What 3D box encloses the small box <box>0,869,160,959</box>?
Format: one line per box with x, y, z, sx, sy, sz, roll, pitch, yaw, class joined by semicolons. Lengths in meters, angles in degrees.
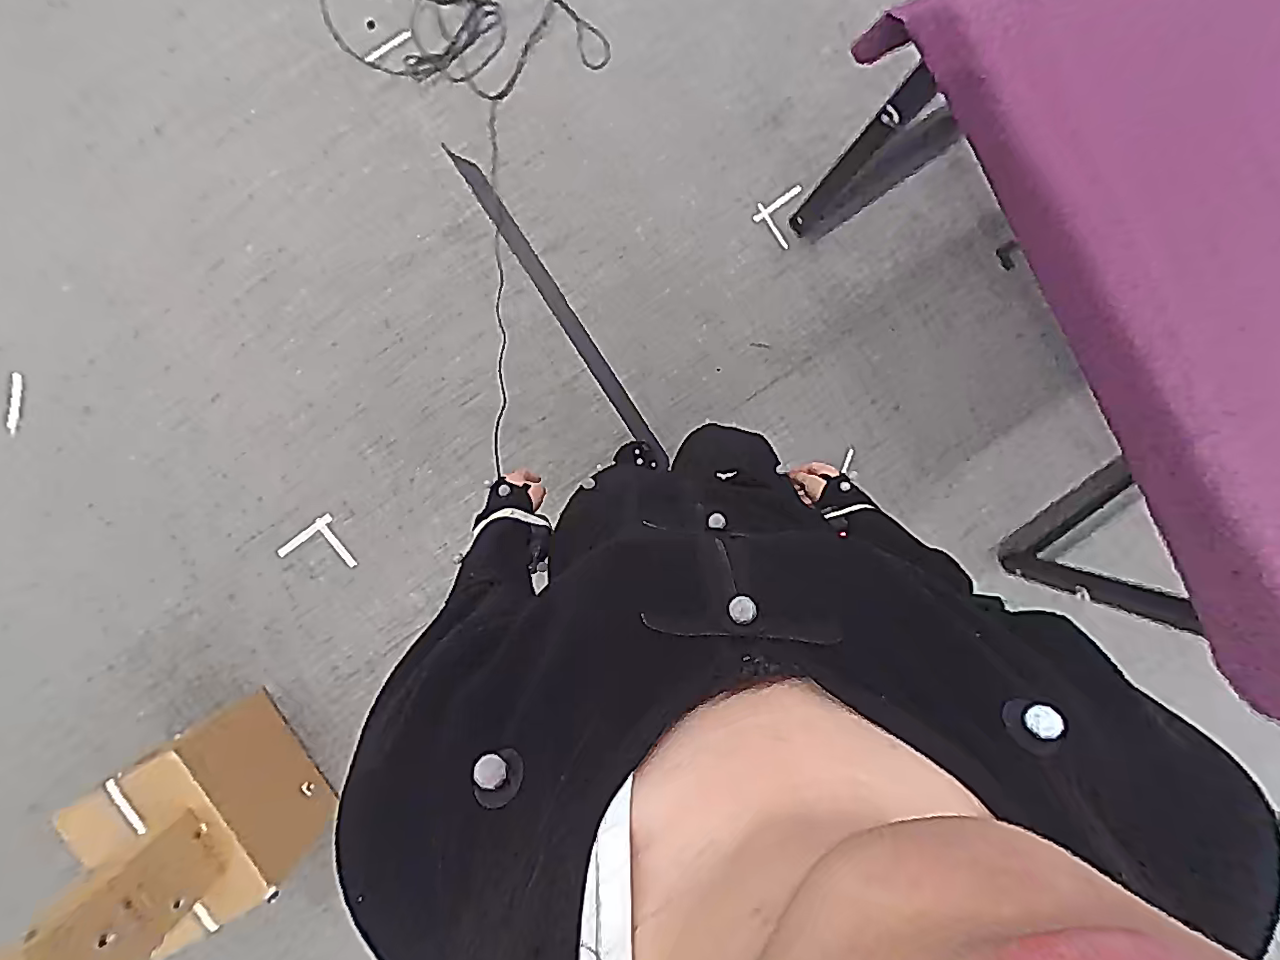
-1.015;0.850;0.958;0.179;0.176;0.168;-29;95;-1;small box
